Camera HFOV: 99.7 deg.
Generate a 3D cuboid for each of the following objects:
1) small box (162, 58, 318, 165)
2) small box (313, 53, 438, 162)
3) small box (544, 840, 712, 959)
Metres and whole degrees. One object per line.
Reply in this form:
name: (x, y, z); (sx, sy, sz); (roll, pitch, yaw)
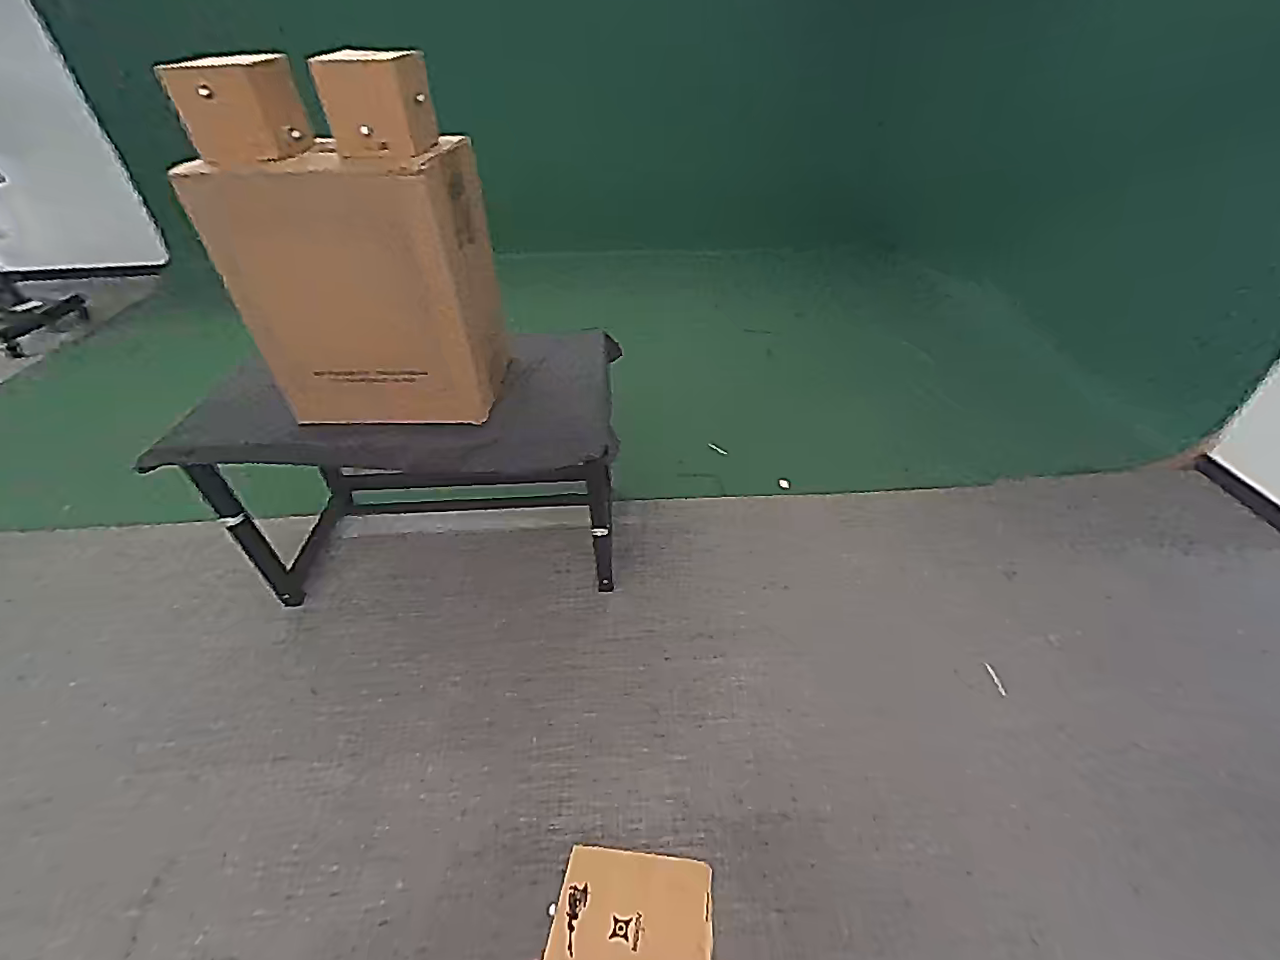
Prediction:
small box: (-0.836, -0.783, 1.152); (0.179, 0.176, 0.168); (1, 44, 1)
small box: (-0.548, -0.795, 1.152); (0.168, 0.176, 0.179); (1, 43, 1)
small box: (-0.008, 0.570, 0.640); (0.179, 0.176, 0.168); (1, 27, 10)
